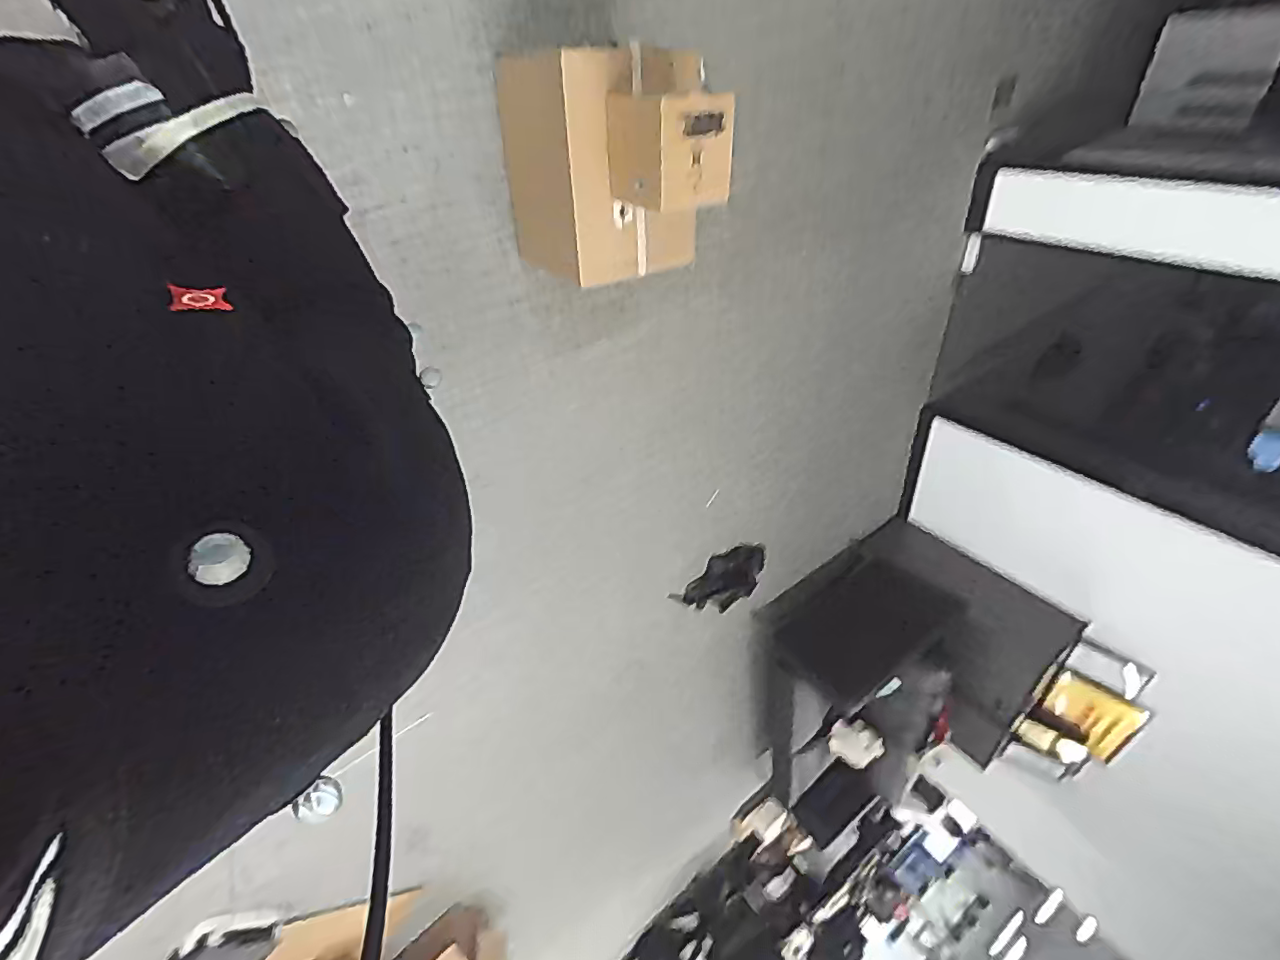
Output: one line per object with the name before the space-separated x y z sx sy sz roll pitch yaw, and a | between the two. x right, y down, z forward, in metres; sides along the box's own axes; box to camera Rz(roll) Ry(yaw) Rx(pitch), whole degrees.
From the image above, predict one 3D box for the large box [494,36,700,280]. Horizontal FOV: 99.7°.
large box | -0.088 -0.709 1.187 0.320 0.320 0.408 -23 133 -25
